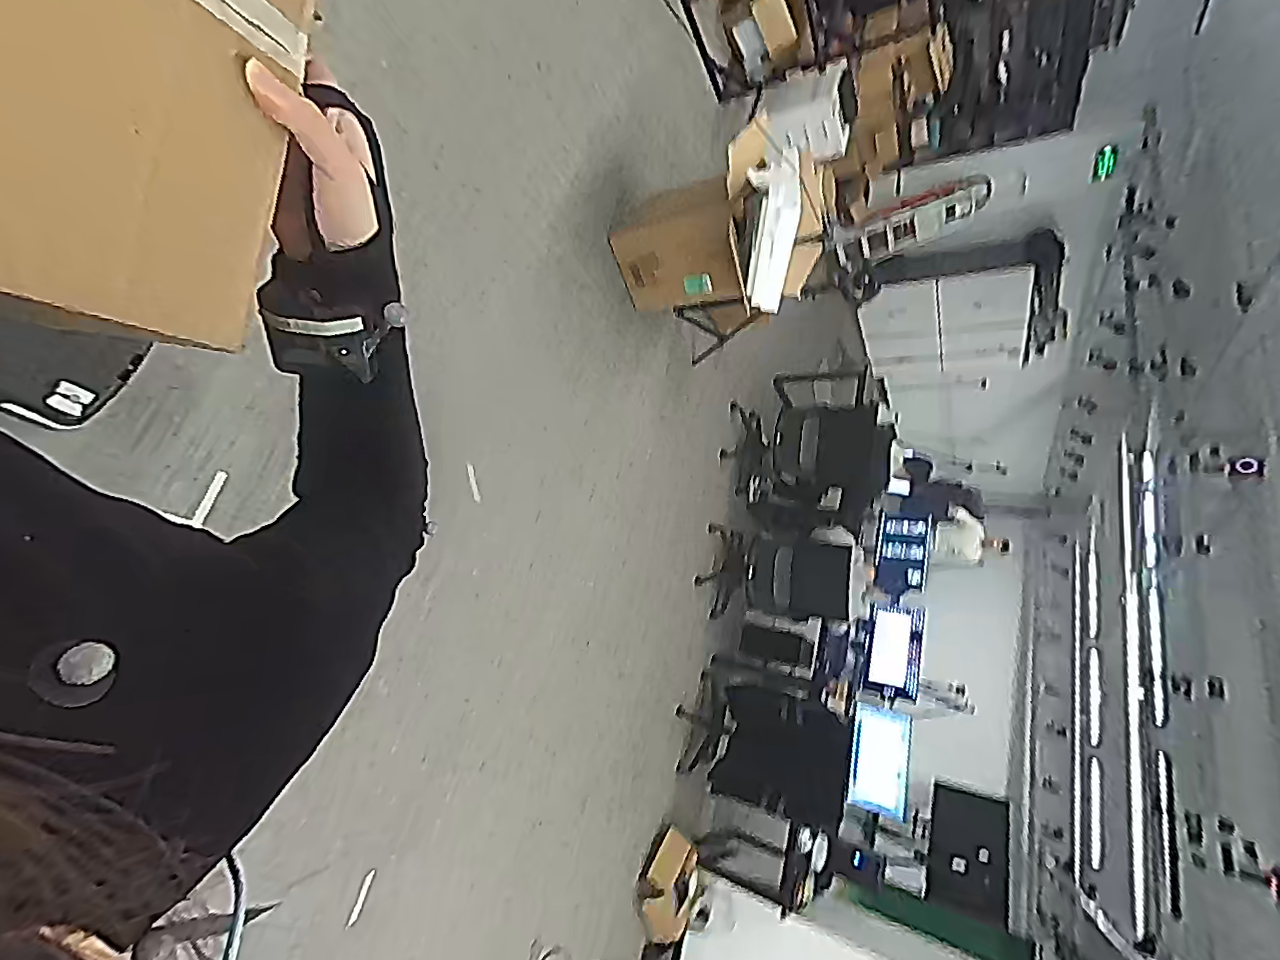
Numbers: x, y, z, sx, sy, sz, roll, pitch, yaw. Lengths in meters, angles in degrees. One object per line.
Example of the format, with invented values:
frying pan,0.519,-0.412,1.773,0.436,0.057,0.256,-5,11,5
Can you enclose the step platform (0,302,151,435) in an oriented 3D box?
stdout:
step platform,-1.178,-0.362,0.802,0.684,0.204,0.286,49,53,-46

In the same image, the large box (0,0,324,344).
large box,-0.395,-0.260,0.188,0.408,0.320,0.320,9,92,-59
